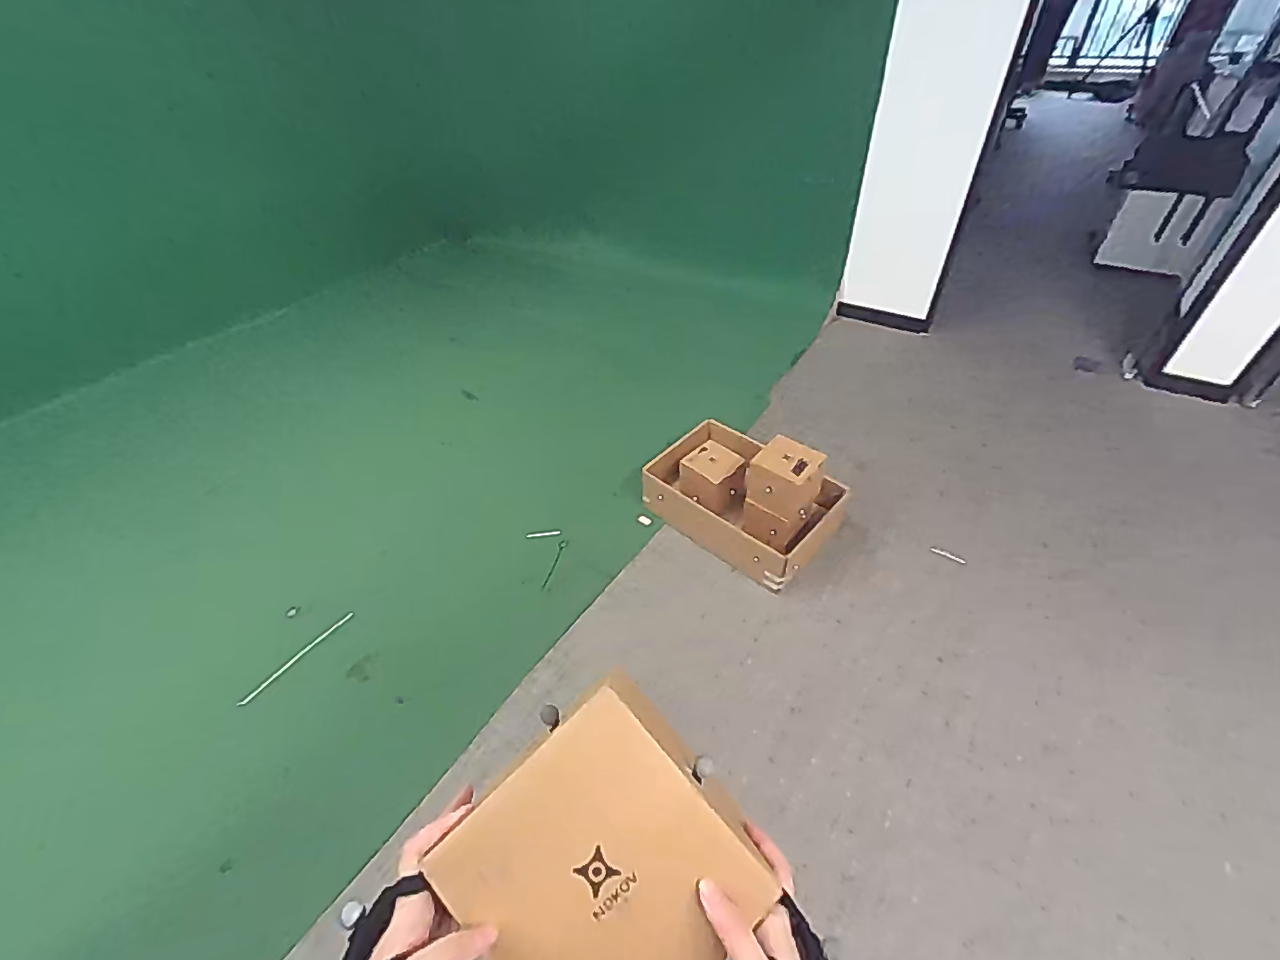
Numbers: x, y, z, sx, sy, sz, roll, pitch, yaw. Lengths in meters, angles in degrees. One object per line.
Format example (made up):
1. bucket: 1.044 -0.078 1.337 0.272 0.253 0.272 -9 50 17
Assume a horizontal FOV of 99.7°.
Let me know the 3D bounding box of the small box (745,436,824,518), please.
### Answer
1. small box: 0.452 -0.004 1.705 0.179 0.176 0.168 30 54 31
